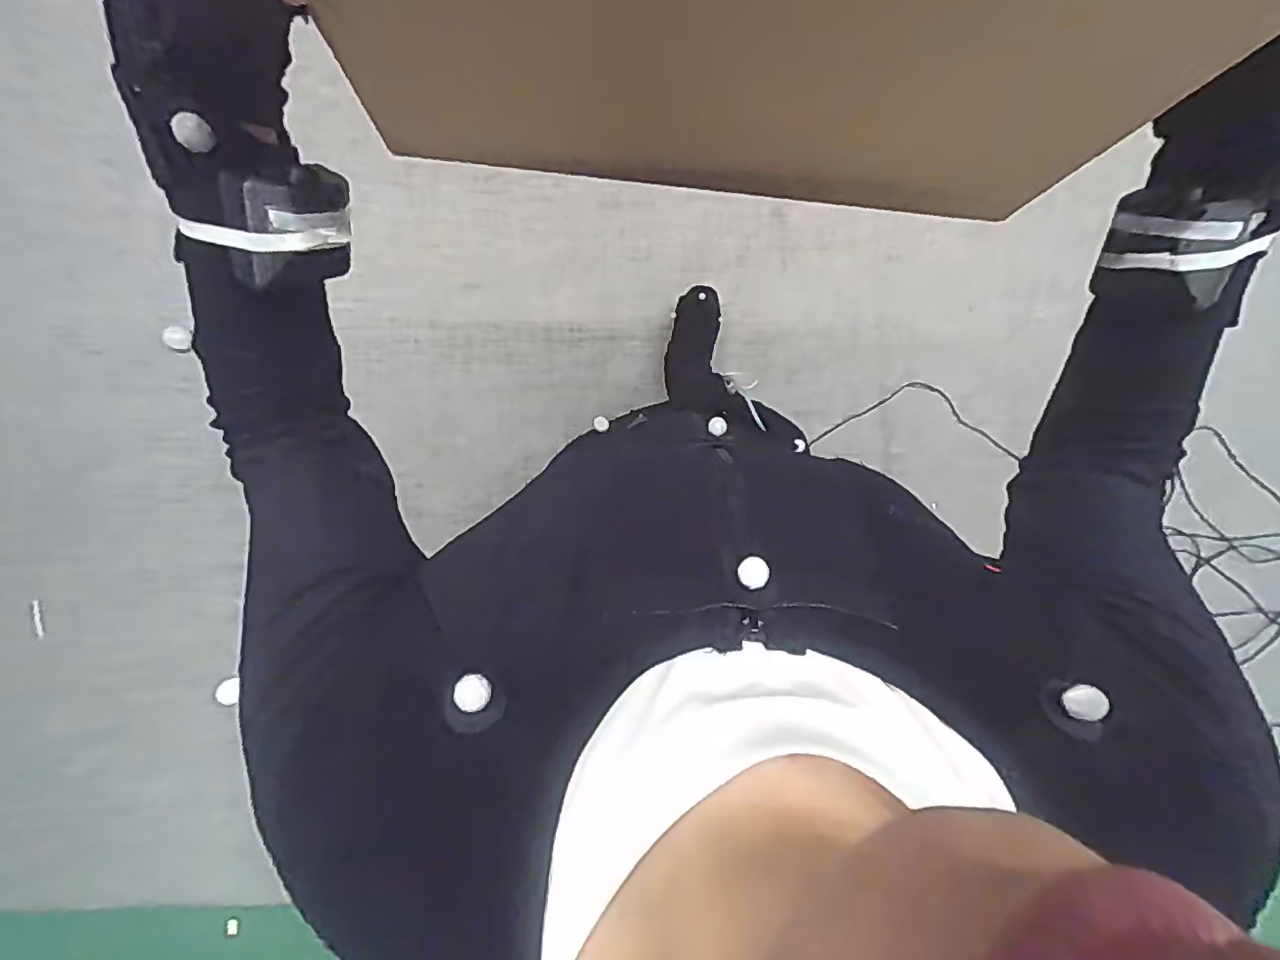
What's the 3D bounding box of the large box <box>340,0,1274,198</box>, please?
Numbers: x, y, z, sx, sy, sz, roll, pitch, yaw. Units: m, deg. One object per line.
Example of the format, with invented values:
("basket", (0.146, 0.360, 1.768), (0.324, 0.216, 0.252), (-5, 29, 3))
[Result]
("large box", (0.073, -0.354, 0.208), (0.408, 0.320, 0.320), (3, 89, -7))
